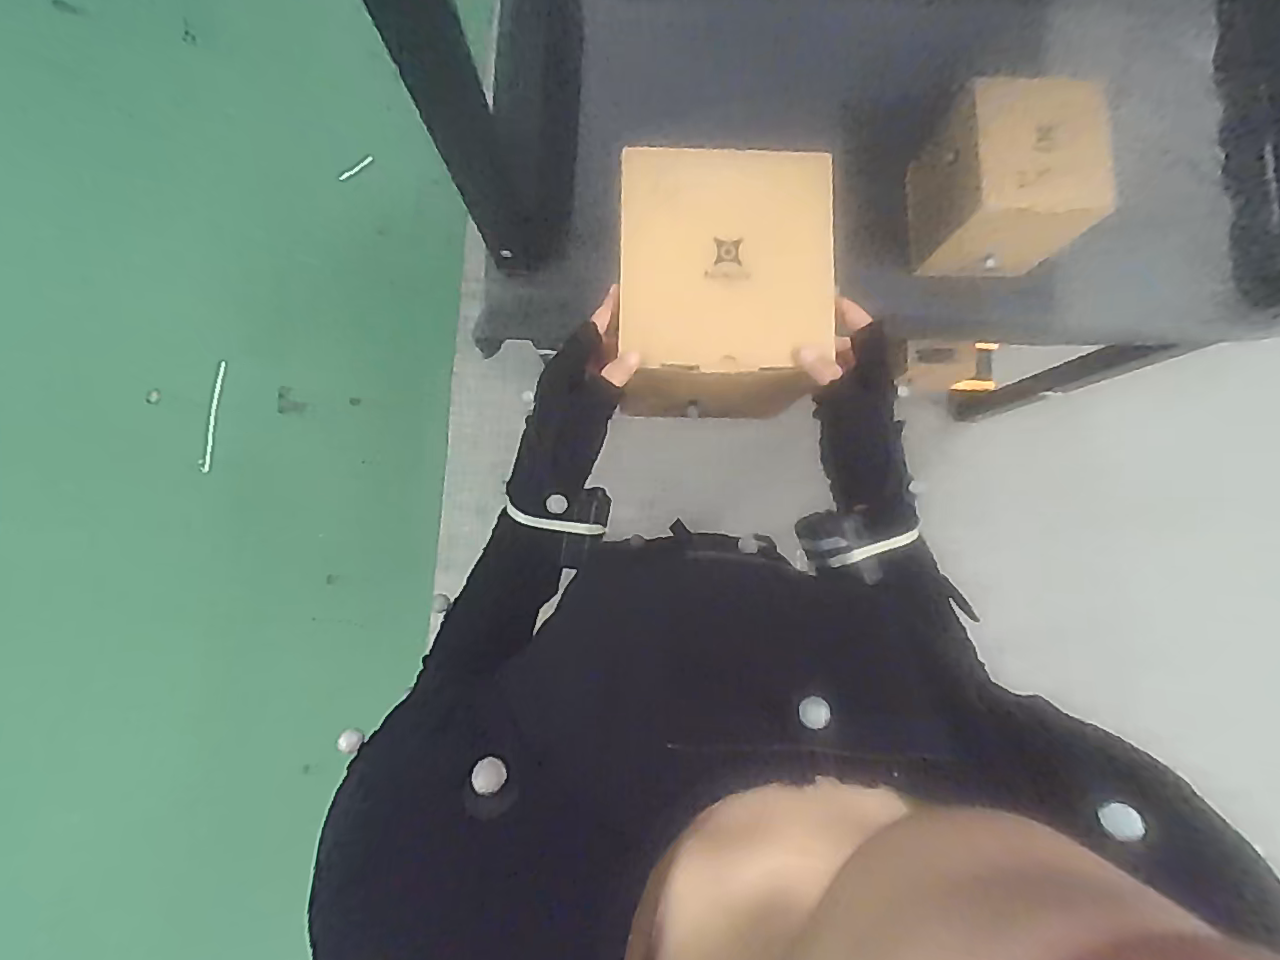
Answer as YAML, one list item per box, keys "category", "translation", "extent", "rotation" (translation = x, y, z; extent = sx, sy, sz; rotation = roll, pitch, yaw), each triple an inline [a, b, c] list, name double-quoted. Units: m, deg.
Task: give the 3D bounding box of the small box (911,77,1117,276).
- category: "small box"
  translation: [0.493, -0.405, 0.741]
  extent: [0.168, 0.176, 0.179]
  rotation: [0, 82, 0]
